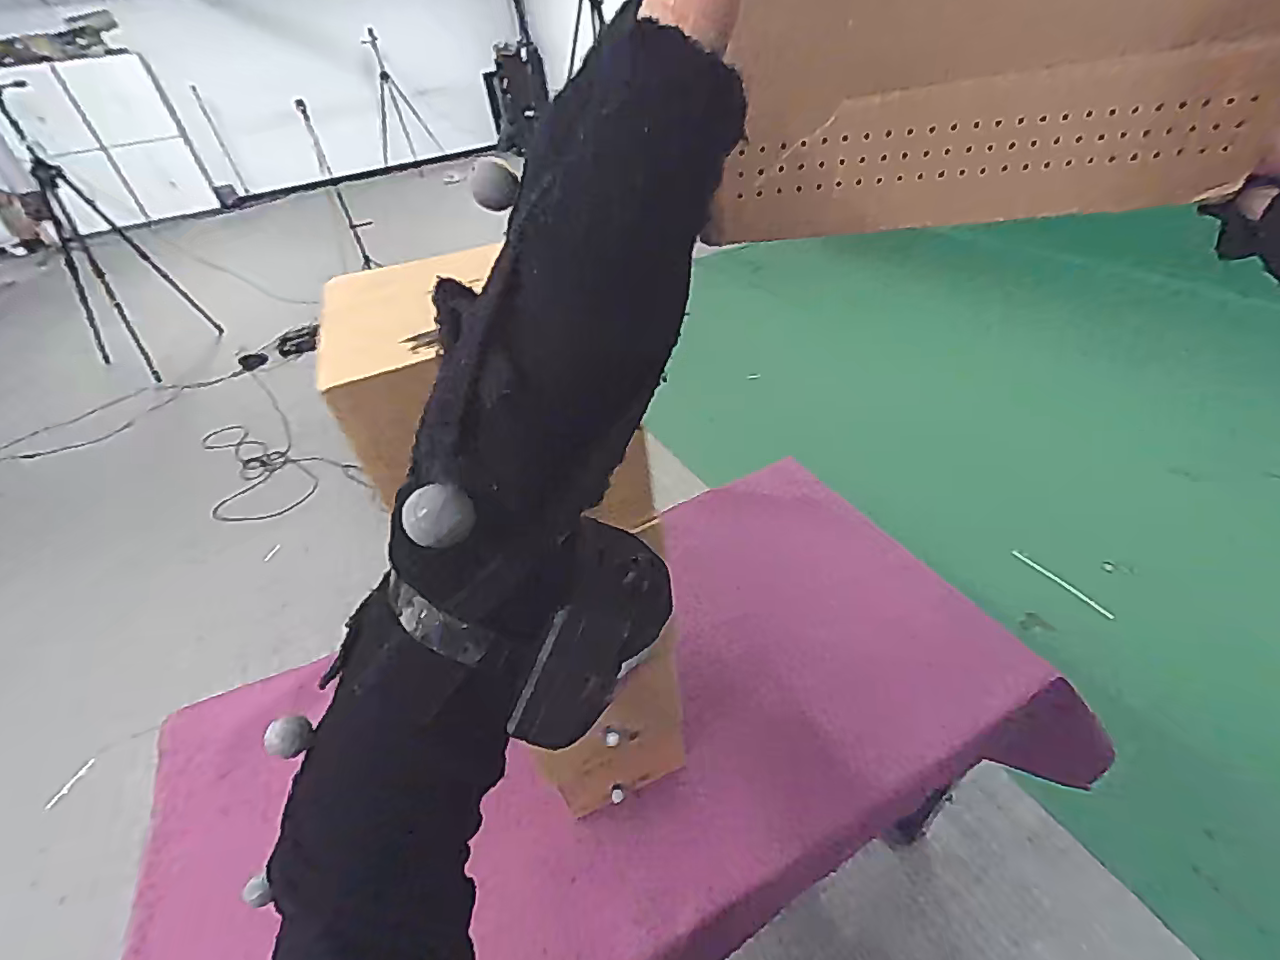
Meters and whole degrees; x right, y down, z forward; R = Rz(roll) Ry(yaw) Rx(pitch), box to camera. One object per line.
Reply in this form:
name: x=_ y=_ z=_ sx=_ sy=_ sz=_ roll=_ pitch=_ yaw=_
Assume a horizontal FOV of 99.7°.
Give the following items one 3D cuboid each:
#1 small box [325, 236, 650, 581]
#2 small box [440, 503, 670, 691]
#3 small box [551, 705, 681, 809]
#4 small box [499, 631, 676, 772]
small box: x=-0.104 y=-0.059 z=0.401 sx=0.168 sy=0.176 sz=0.179 roll=-20 pitch=41 yaw=-13
small box: x=-0.083 y=0.067 z=0.503 sx=0.168 sy=0.176 sz=0.179 roll=-21 pitch=41 yaw=-14
small box: x=-0.056 y=0.300 z=0.733 sx=0.168 sy=0.176 sz=0.179 roll=-20 pitch=42 yaw=-13
small box: x=-0.072 y=0.187 z=0.615 sx=0.168 sy=0.176 sz=0.179 roll=-22 pitch=42 yaw=-14
